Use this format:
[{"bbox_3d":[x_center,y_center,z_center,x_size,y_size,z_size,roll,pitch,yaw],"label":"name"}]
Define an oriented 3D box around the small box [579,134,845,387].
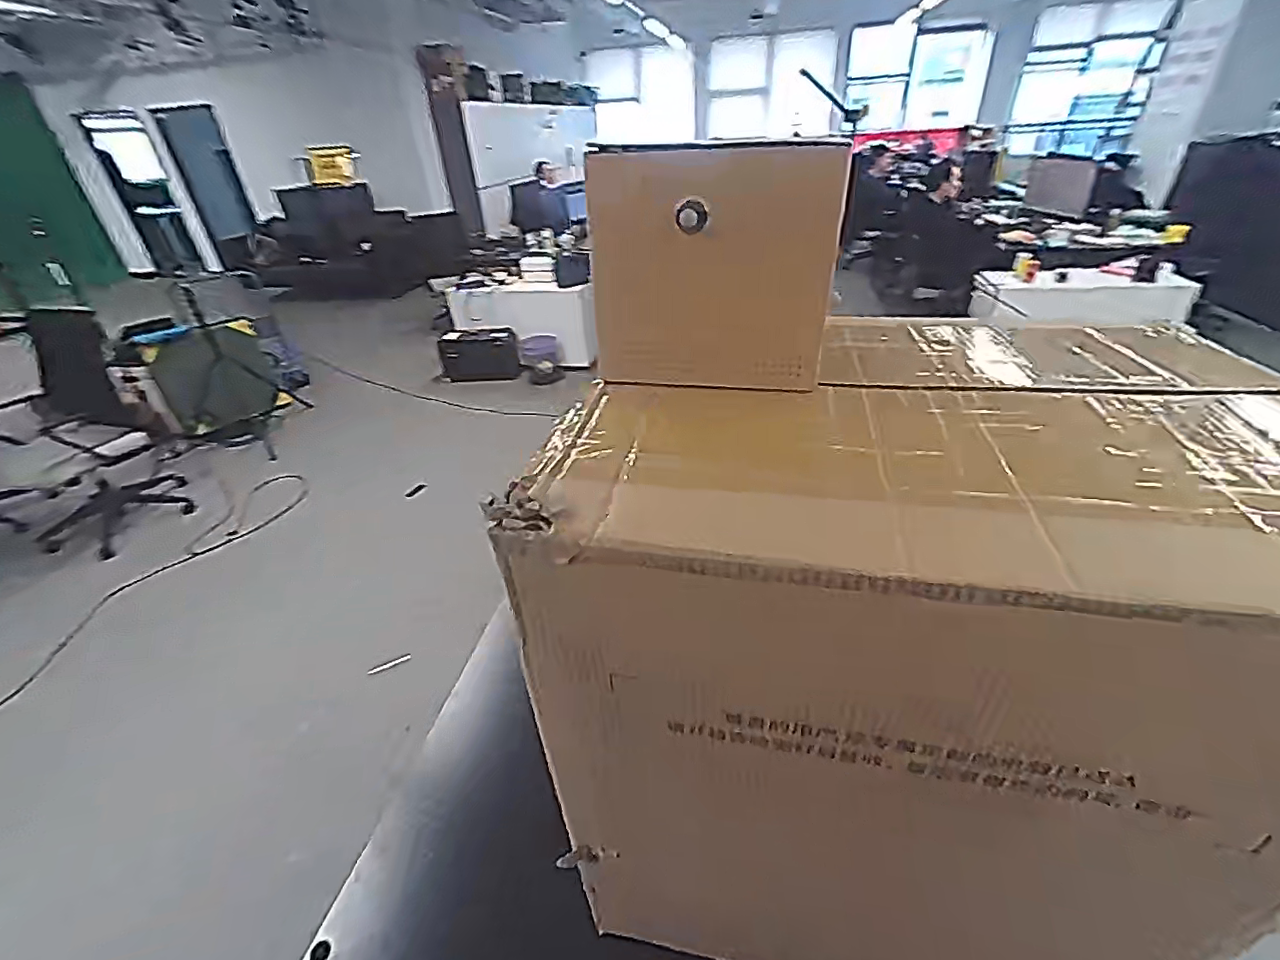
[{"bbox_3d":[0.062,-0.185,0.455,0.179,0.176,0.168,5,33,11],"label":"small box"}]
